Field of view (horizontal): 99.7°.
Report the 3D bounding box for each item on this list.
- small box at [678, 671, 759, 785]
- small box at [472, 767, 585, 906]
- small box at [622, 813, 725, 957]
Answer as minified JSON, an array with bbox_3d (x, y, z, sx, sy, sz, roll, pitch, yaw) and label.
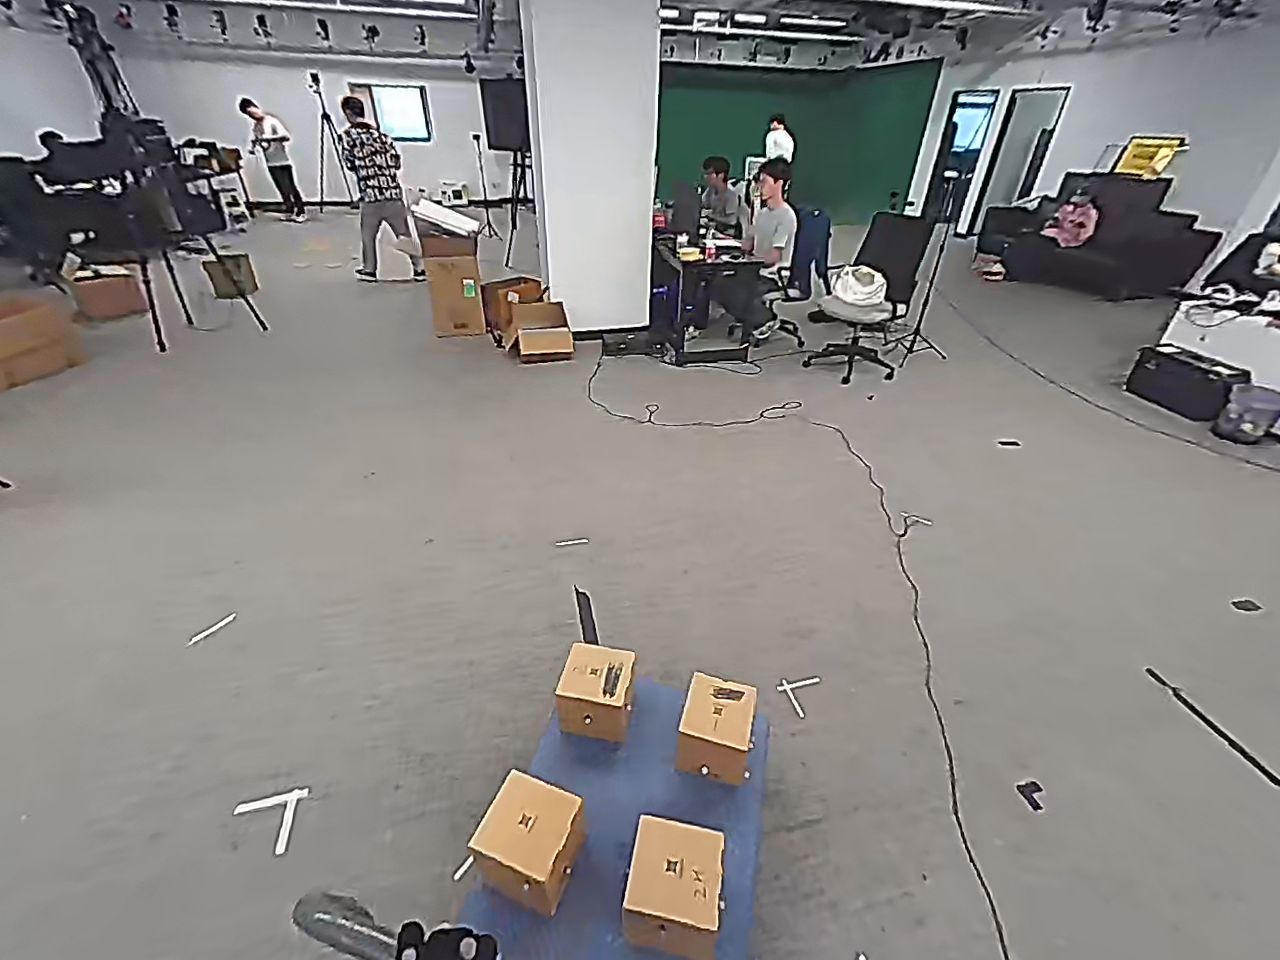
[{"bbox_3d":[0.196,0.623,1.362,0.168,0.176,0.179,11,36,14],"label":"small box"},{"bbox_3d":[-0.228,0.758,1.149,0.179,0.176,0.168,14,36,16],"label":"small box"},{"bbox_3d":[0.069,0.808,1.080,0.179,0.176,0.168,8,34,10],"label":"small box"}]
